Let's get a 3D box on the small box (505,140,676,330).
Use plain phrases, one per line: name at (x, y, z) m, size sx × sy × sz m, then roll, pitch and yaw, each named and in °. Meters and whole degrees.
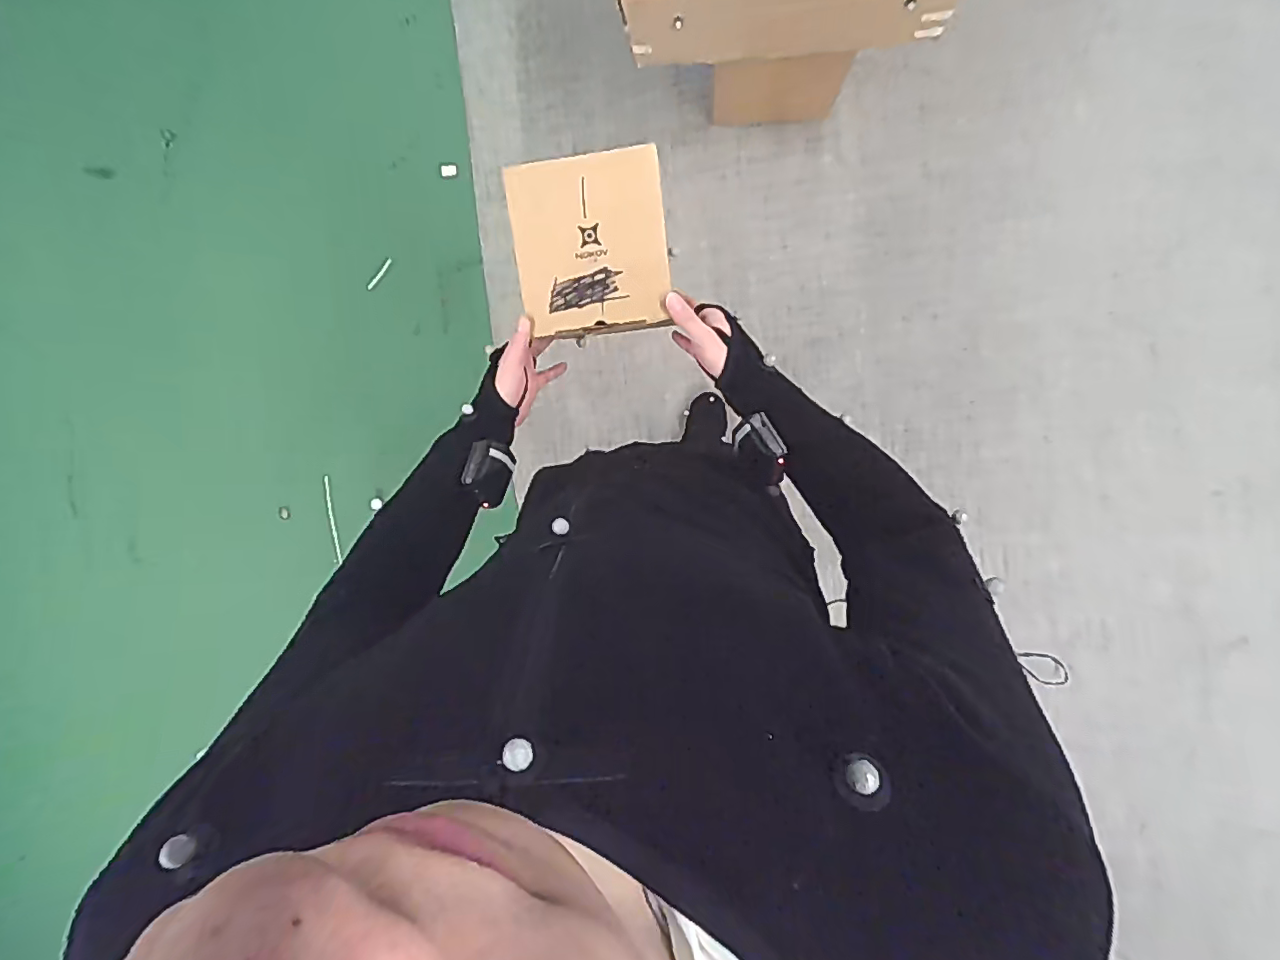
small box at (-0.047, -0.281, 0.662) m, size 0.168 × 0.176 × 0.179 m, roll -5°, pitch 103°, yaw 7°
